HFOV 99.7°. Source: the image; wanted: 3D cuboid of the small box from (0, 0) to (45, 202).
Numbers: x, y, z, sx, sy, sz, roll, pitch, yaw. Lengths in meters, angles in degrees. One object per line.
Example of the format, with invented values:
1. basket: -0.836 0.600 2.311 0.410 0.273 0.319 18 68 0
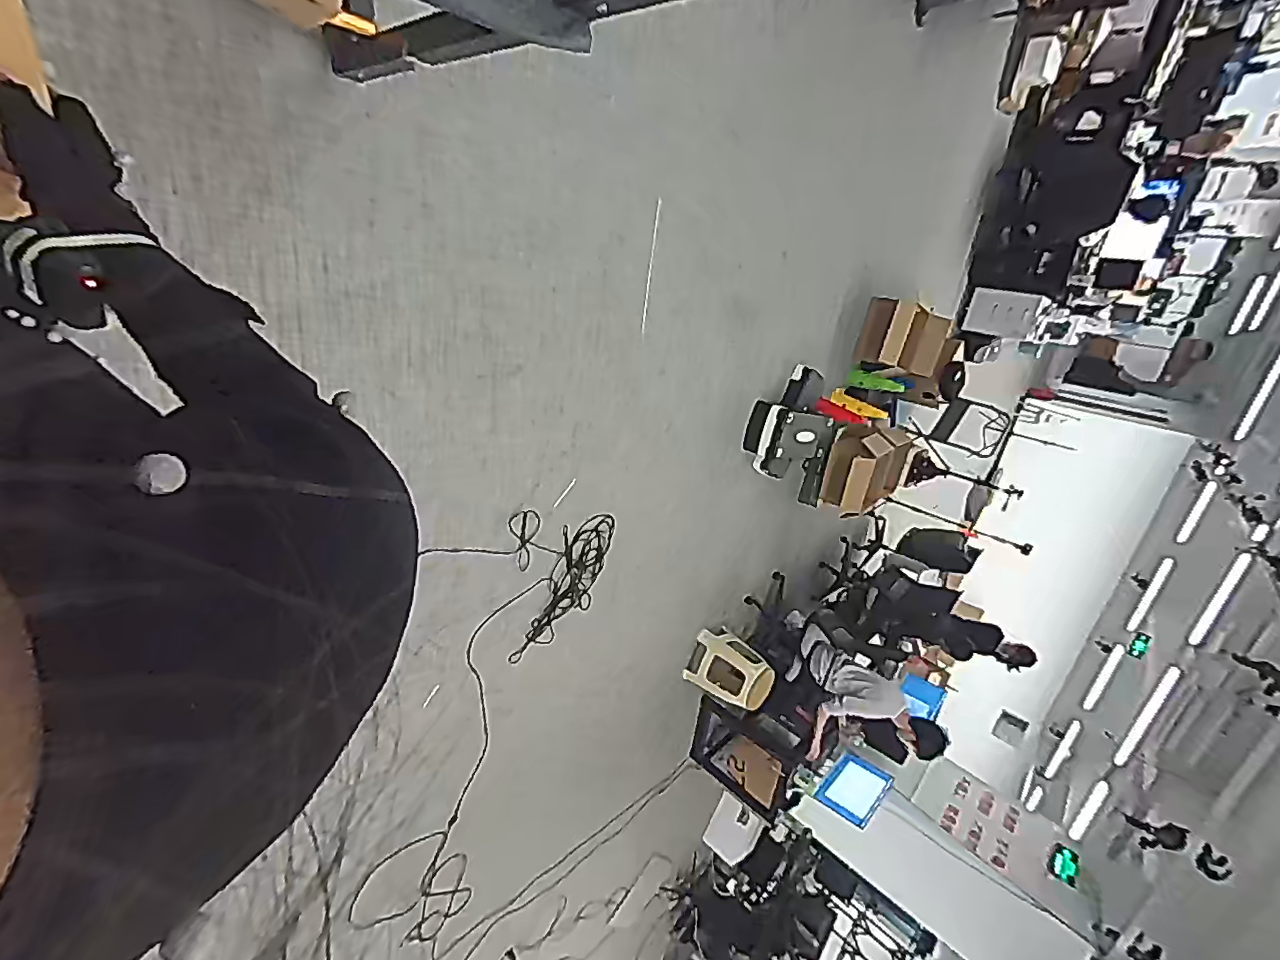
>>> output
1. small box: -0.585 -0.336 0.390 0.168 0.176 0.179 -16 97 -56
